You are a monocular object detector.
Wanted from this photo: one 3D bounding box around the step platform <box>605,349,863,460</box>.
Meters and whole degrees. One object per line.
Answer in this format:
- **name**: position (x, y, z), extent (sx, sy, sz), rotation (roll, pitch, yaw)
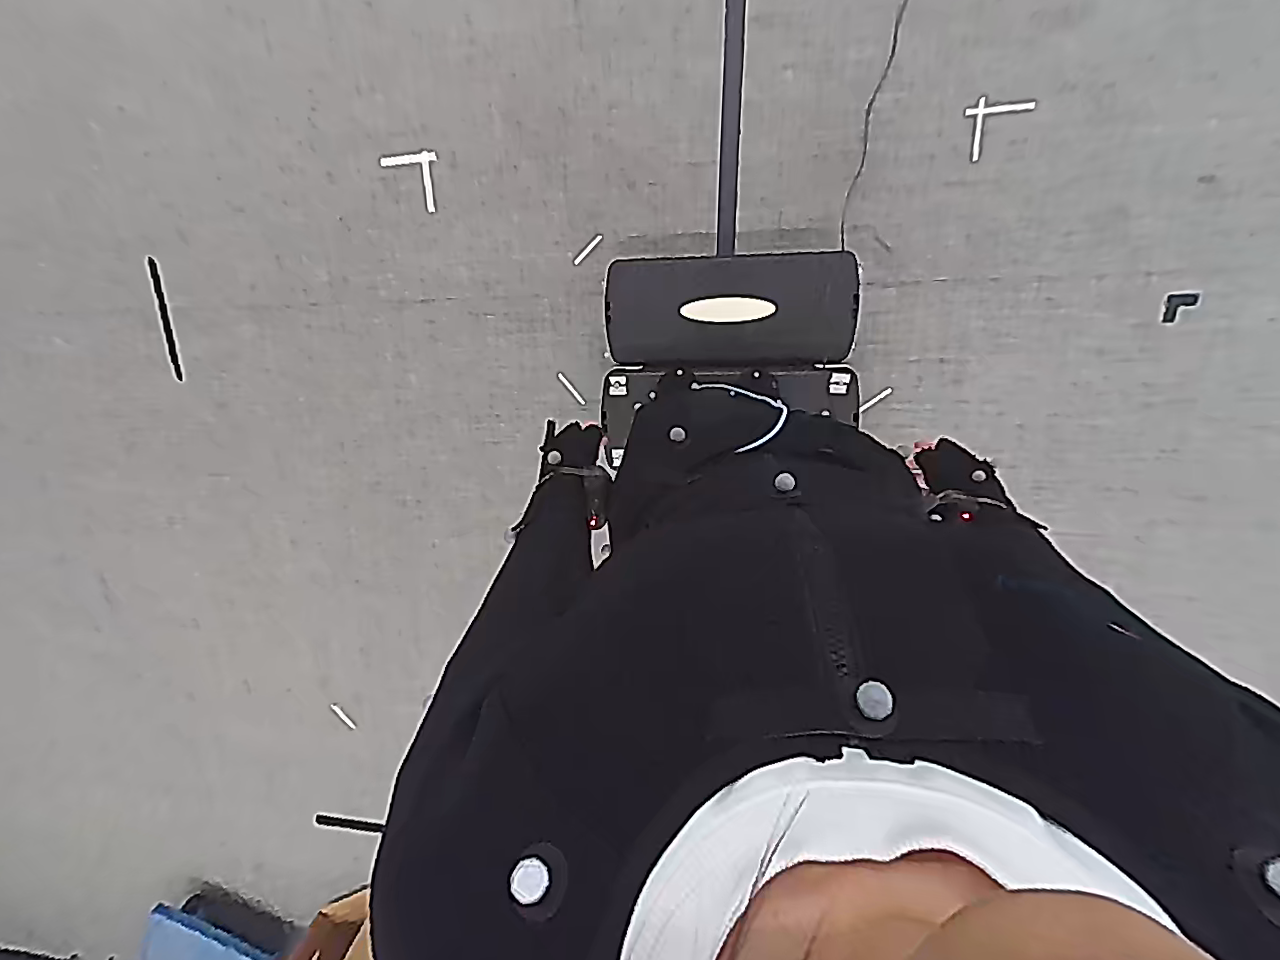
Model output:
- **step platform**: position (0.246, -0.206, 1.489), extent (0.684, 0.204, 0.286), rotation (1, 104, 10)
